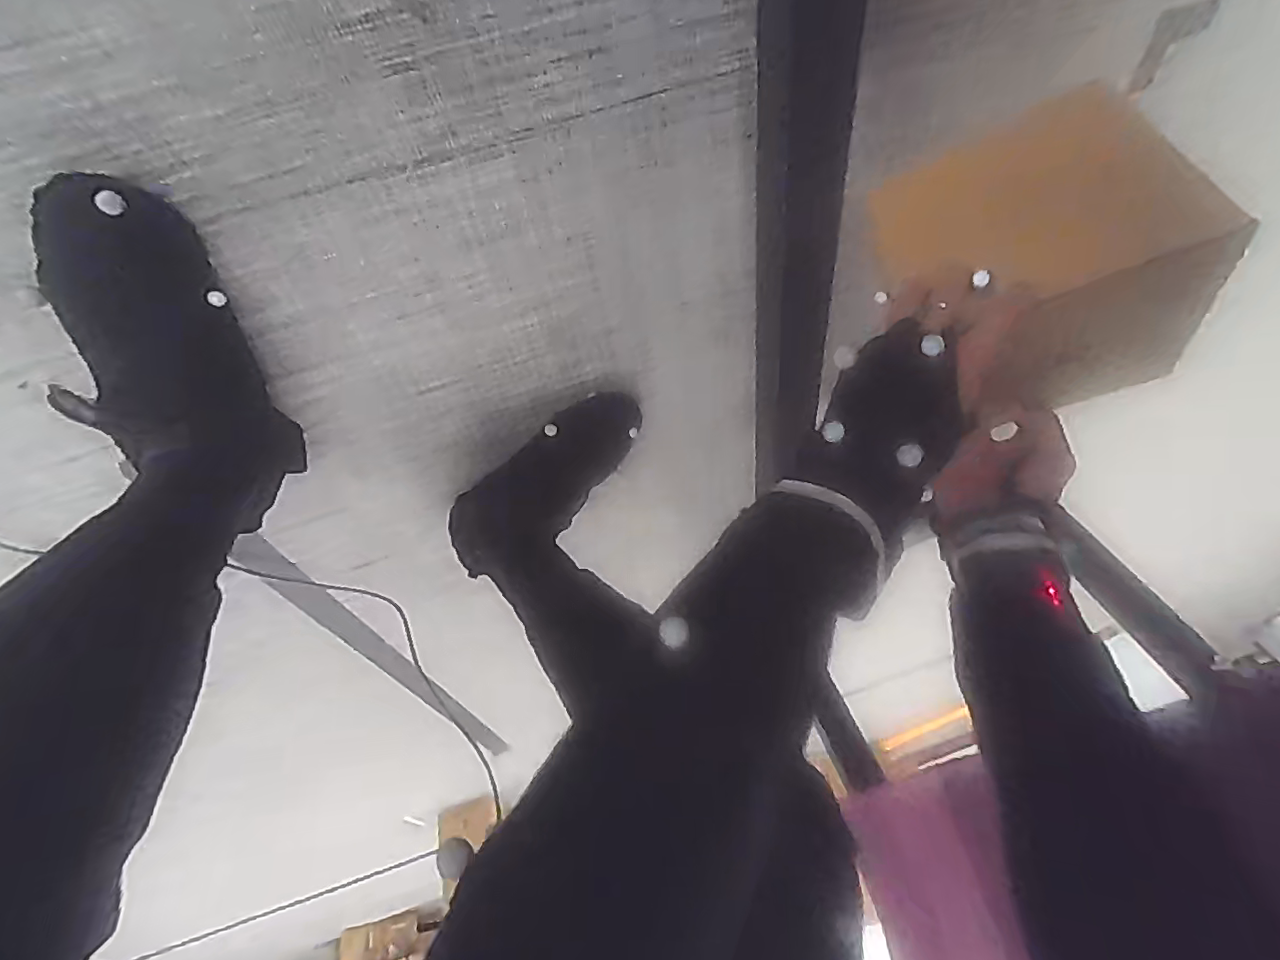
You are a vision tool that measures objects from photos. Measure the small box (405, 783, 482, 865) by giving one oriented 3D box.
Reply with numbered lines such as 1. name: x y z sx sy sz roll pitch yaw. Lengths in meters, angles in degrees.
1. small box: -0.601 1.051 1.654 0.168 0.176 0.179 -19 142 -4
